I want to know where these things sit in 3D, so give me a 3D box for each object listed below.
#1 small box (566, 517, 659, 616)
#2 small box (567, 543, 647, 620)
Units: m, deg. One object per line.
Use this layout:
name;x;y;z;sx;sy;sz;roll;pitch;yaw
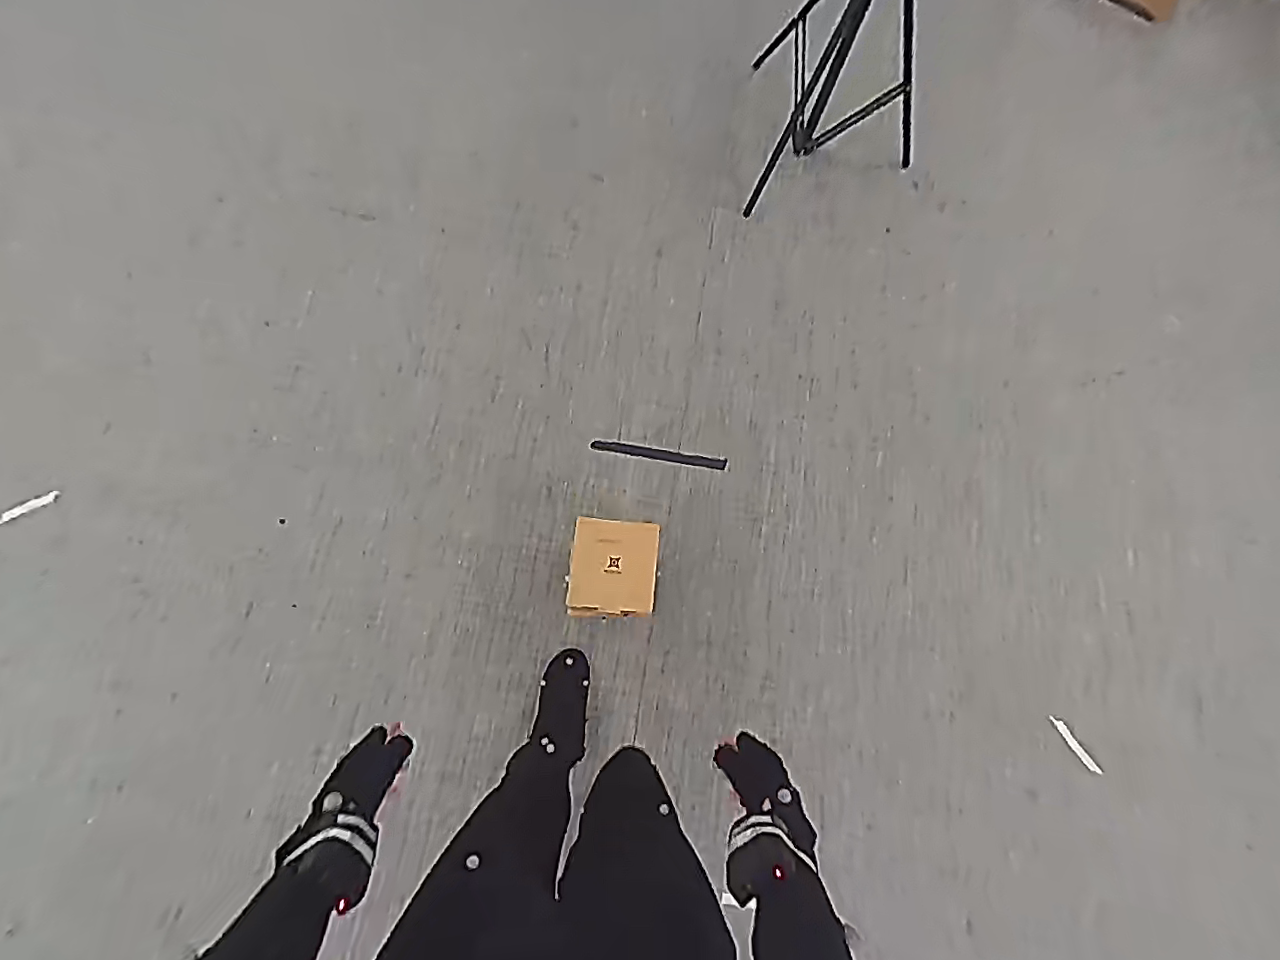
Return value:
small box;-0.056;0.185;1.112;0.168;0.176;0.179;6;74;-4
small box;-0.073;0.239;1.265;0.179;0.176;0.168;2;75;-3
